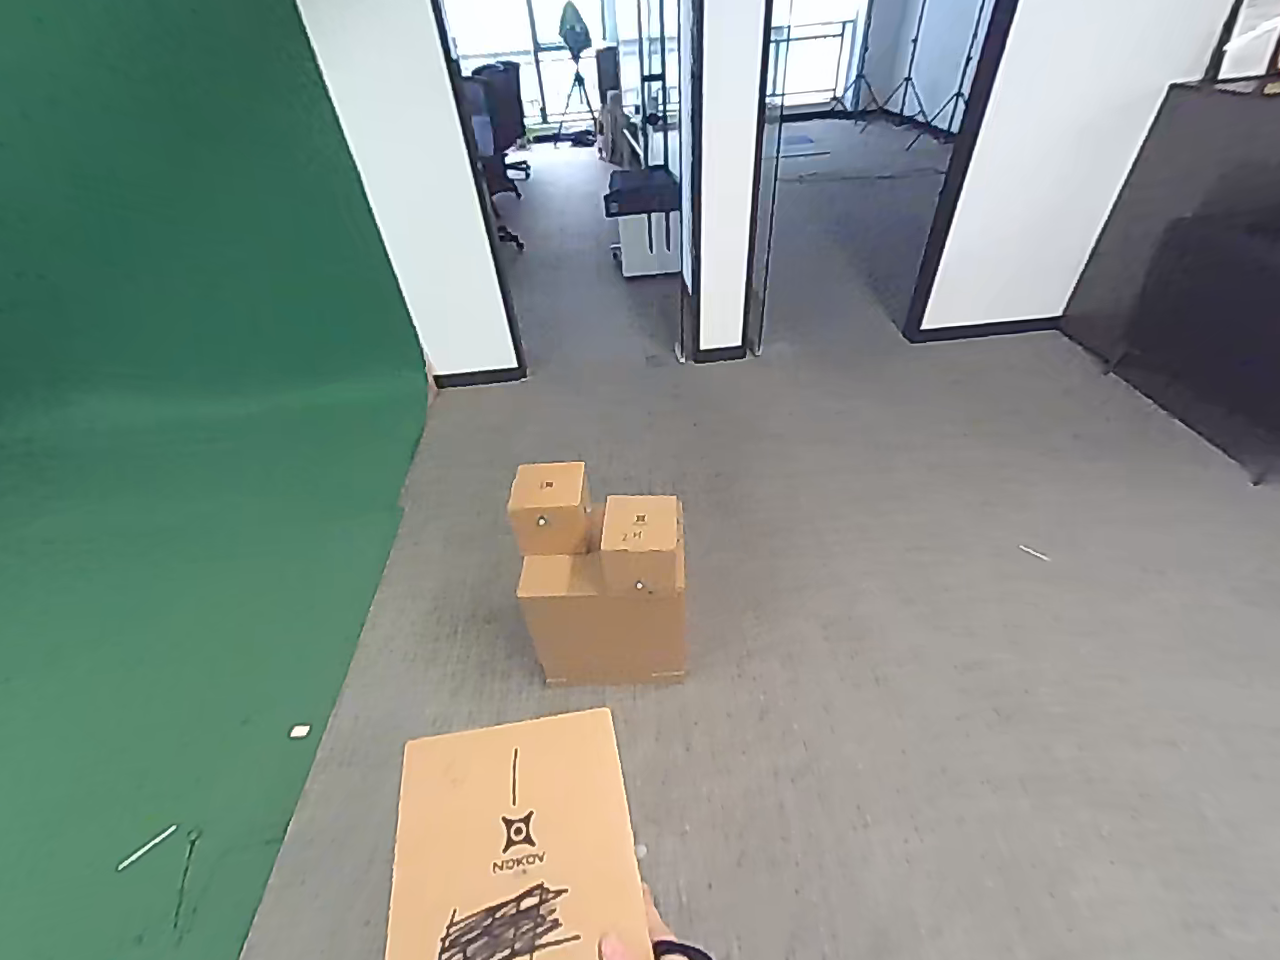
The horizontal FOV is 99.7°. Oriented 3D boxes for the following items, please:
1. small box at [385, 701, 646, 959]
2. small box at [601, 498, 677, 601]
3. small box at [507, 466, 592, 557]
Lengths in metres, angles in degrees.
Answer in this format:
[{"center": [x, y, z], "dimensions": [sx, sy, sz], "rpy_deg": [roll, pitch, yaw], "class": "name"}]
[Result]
[{"center": [-0.096, 0.313, 0.444], "dimensions": [0.168, 0.176, 0.179], "rpy_deg": [-4, 43, -12], "class": "small box"}, {"center": [0.004, 0.161, 1.271], "dimensions": [0.168, 0.176, 0.179], "rpy_deg": [-1, 40, 4], "class": "small box"}, {"center": [-0.221, 0.082, 1.383], "dimensions": [0.179, 0.176, 0.168], "rpy_deg": [-3, 40, 3], "class": "small box"}]
